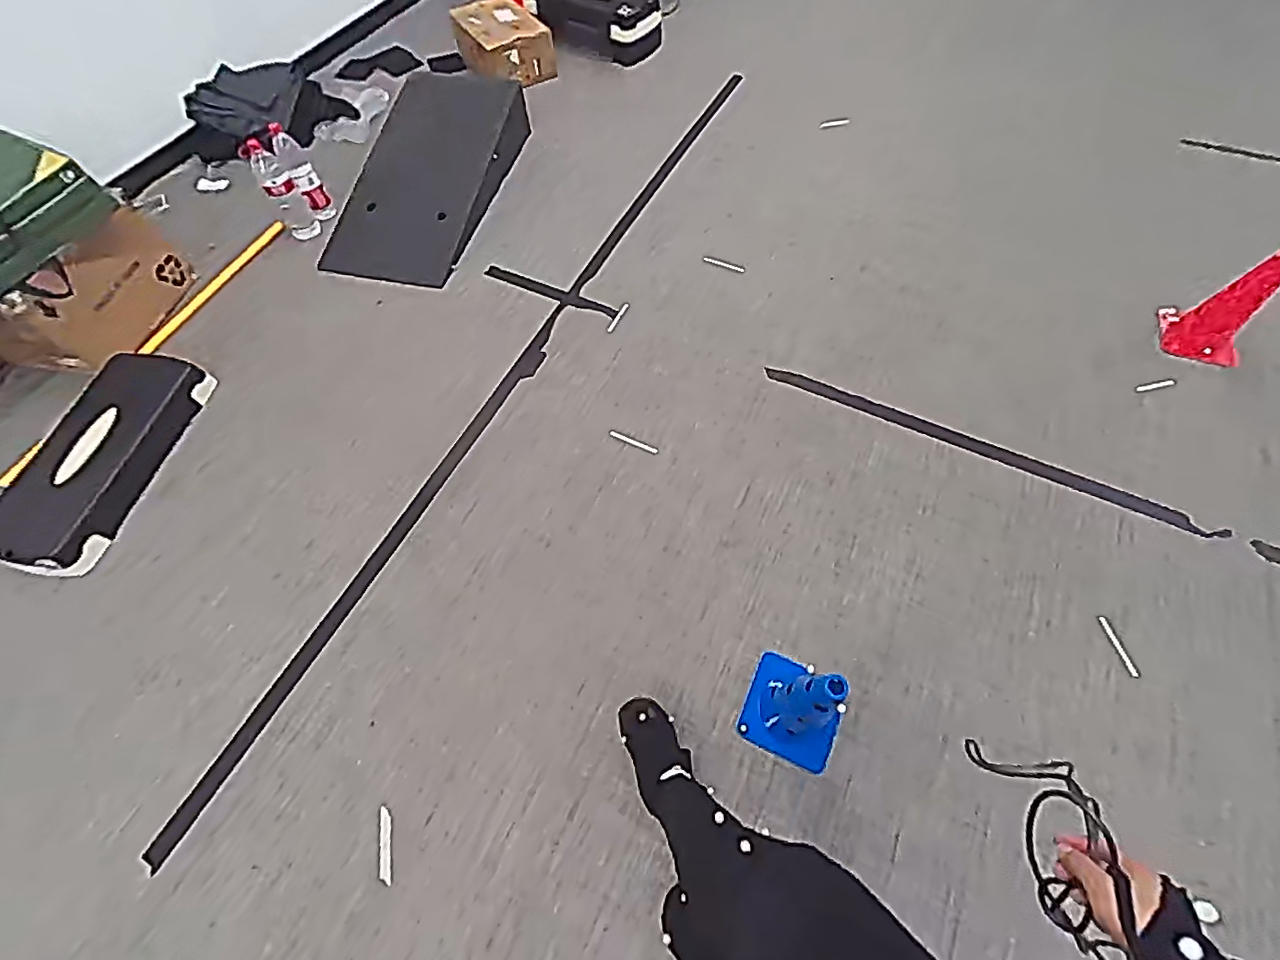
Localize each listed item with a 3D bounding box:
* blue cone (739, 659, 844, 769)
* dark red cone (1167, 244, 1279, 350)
[{"bbox_3d":[0.324,0.431,1.043,0.193,0.380,0.192,23,66,14],"label":"blue cone"},{"bbox_3d":[1.707,-0.559,1.497,0.202,0.394,0.201,16,64,11],"label":"dark red cone"}]
